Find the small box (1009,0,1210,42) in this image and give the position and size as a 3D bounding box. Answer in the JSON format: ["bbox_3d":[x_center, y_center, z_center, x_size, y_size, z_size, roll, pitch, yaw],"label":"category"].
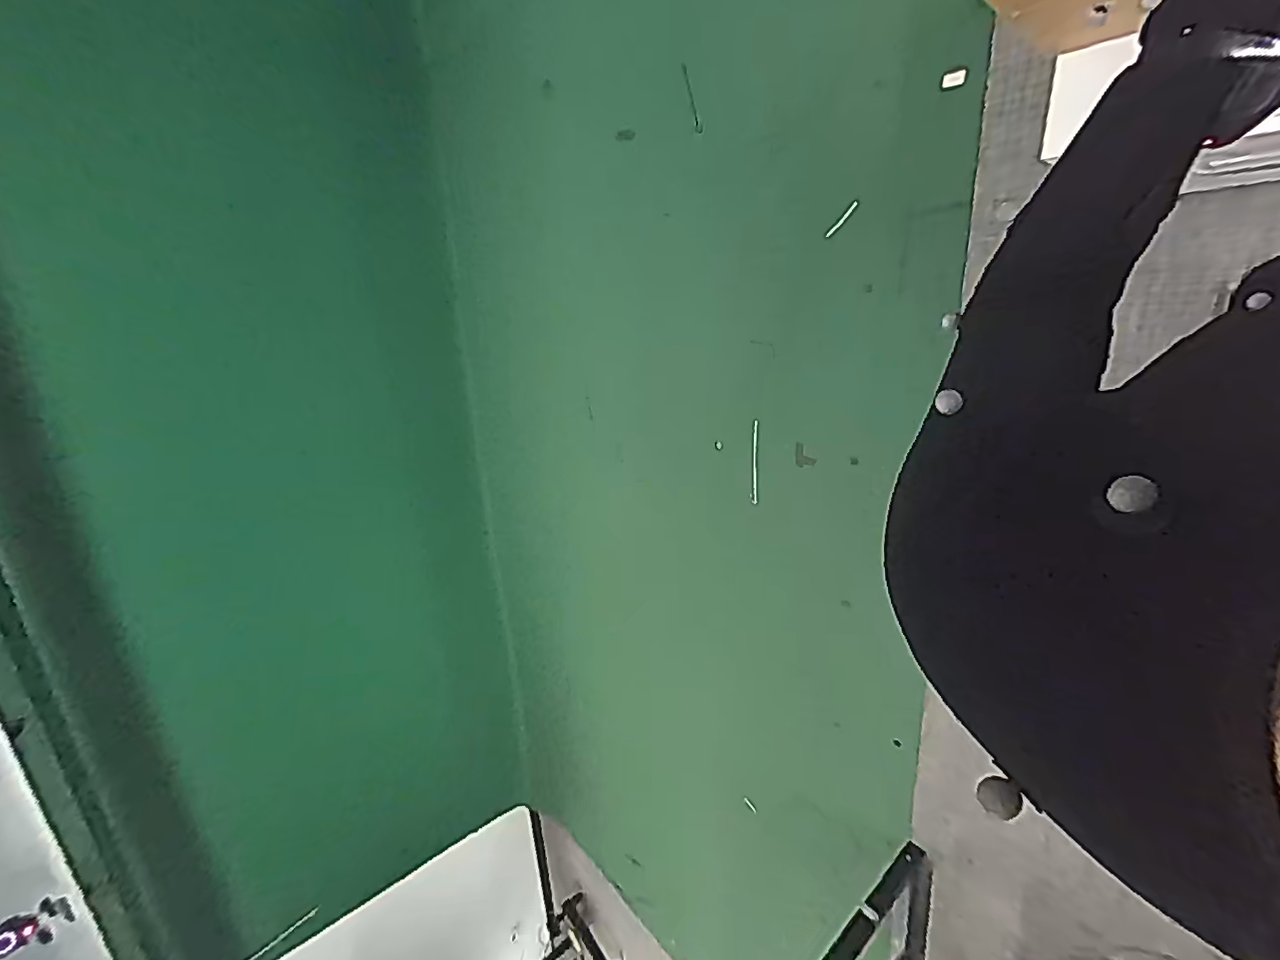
[{"bbox_3d":[0.513,-0.585,0.547,0.179,0.176,0.168,18,117,46],"label":"small box"}]
